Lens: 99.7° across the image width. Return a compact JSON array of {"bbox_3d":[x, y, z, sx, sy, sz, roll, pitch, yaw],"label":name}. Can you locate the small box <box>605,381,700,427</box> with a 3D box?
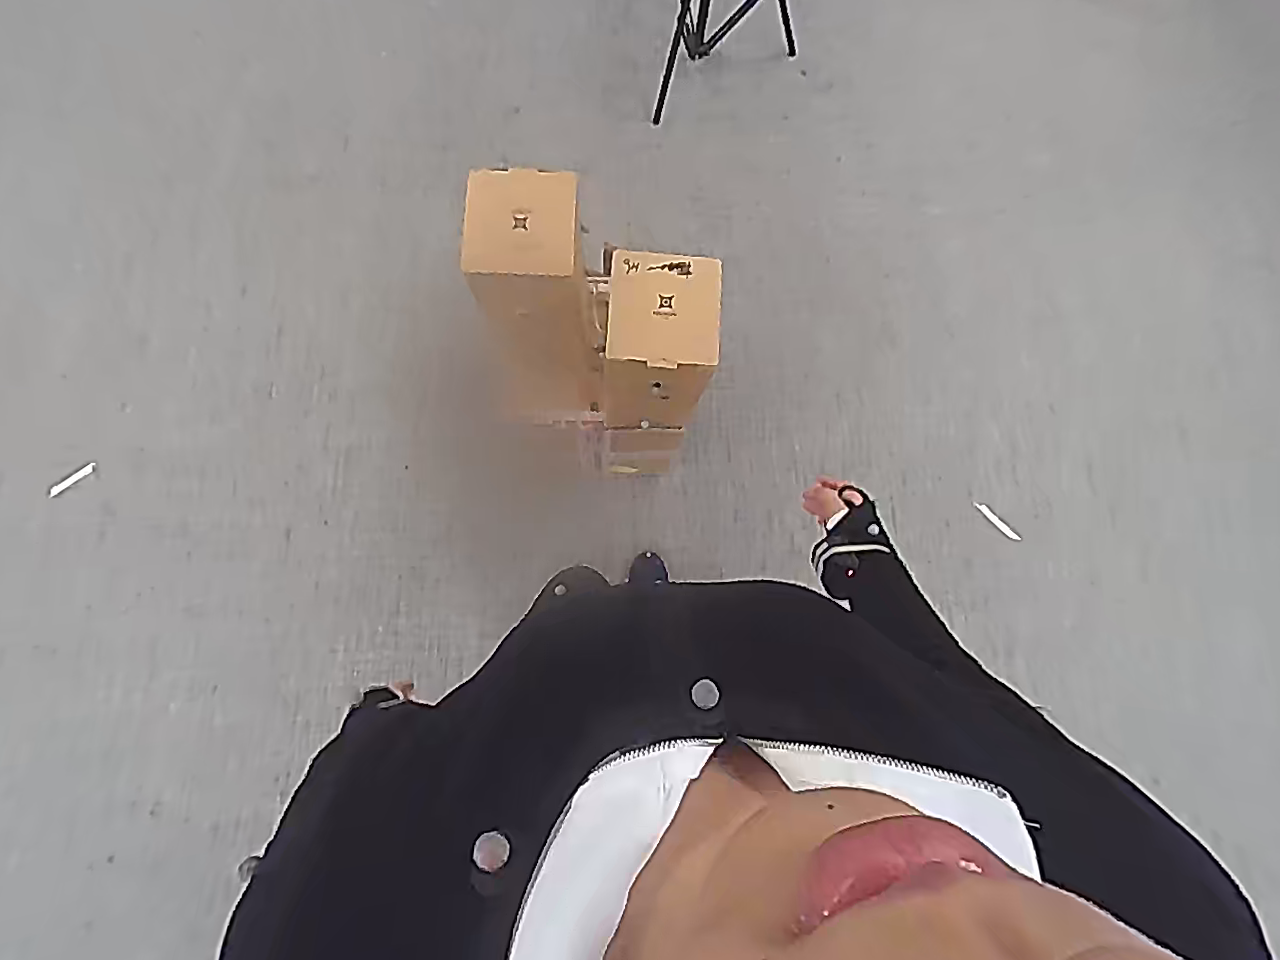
[{"bbox_3d":[0.017,-0.211,1.033,0.168,0.176,0.179,0,80,-4],"label":"small box"}]

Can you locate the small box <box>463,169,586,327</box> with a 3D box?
[{"bbox_3d":[-0.178,-0.371,0.883,0.168,0.176,0.179,0,80,-1],"label":"small box"}]

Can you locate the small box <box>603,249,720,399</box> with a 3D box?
[{"bbox_3d":[0.030,-0.240,0.872,0.168,0.176,0.179,4,80,-3],"label":"small box"}]
